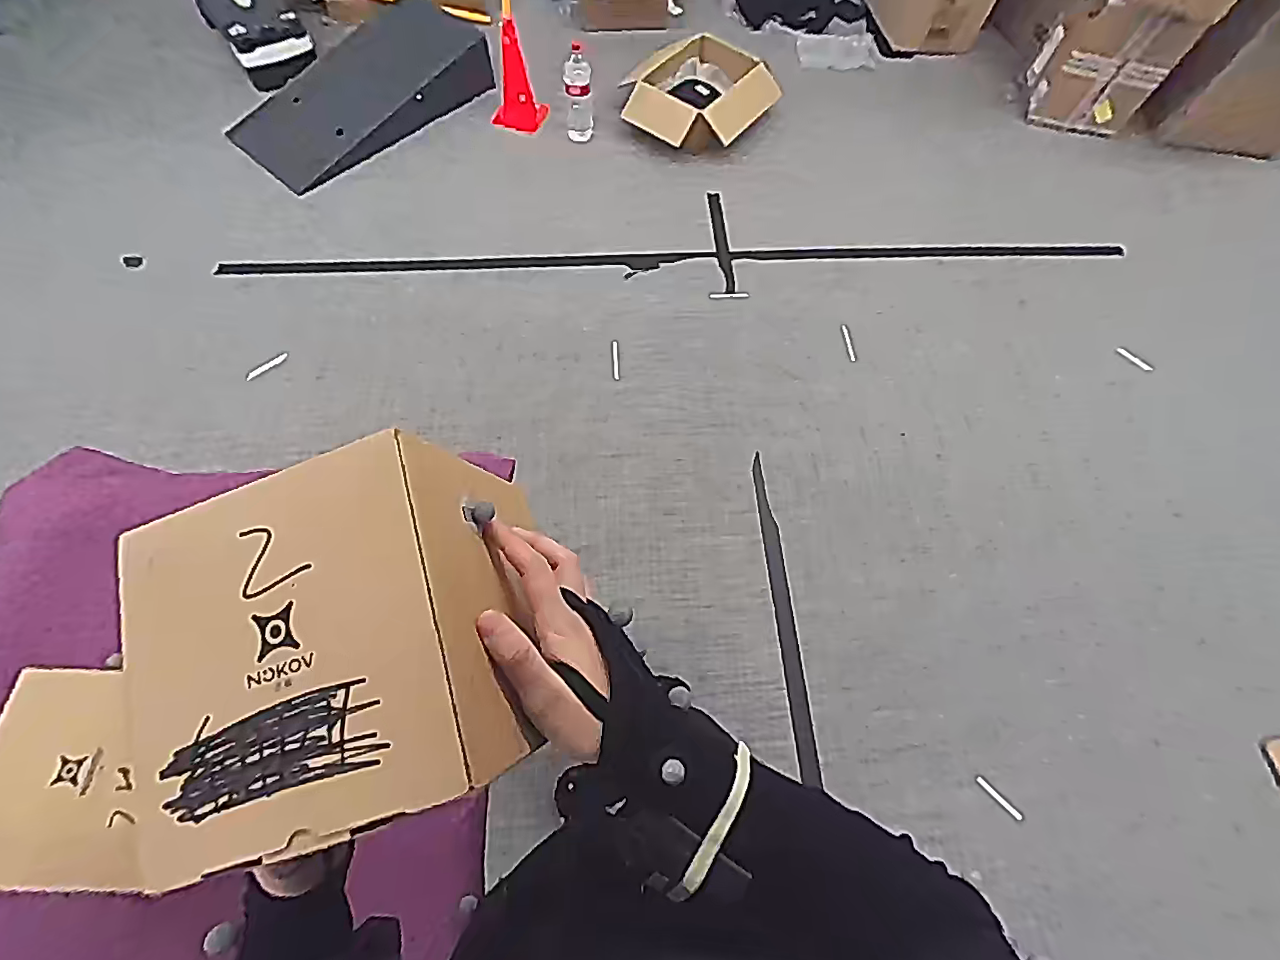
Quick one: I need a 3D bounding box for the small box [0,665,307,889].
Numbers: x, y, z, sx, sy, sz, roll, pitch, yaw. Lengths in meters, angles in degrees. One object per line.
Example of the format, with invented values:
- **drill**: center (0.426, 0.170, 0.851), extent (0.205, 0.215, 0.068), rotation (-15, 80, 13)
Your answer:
- **small box**: center (-0.476, 0.280, 0.533), extent (0.179, 0.176, 0.168), rotation (2, 66, -2)
